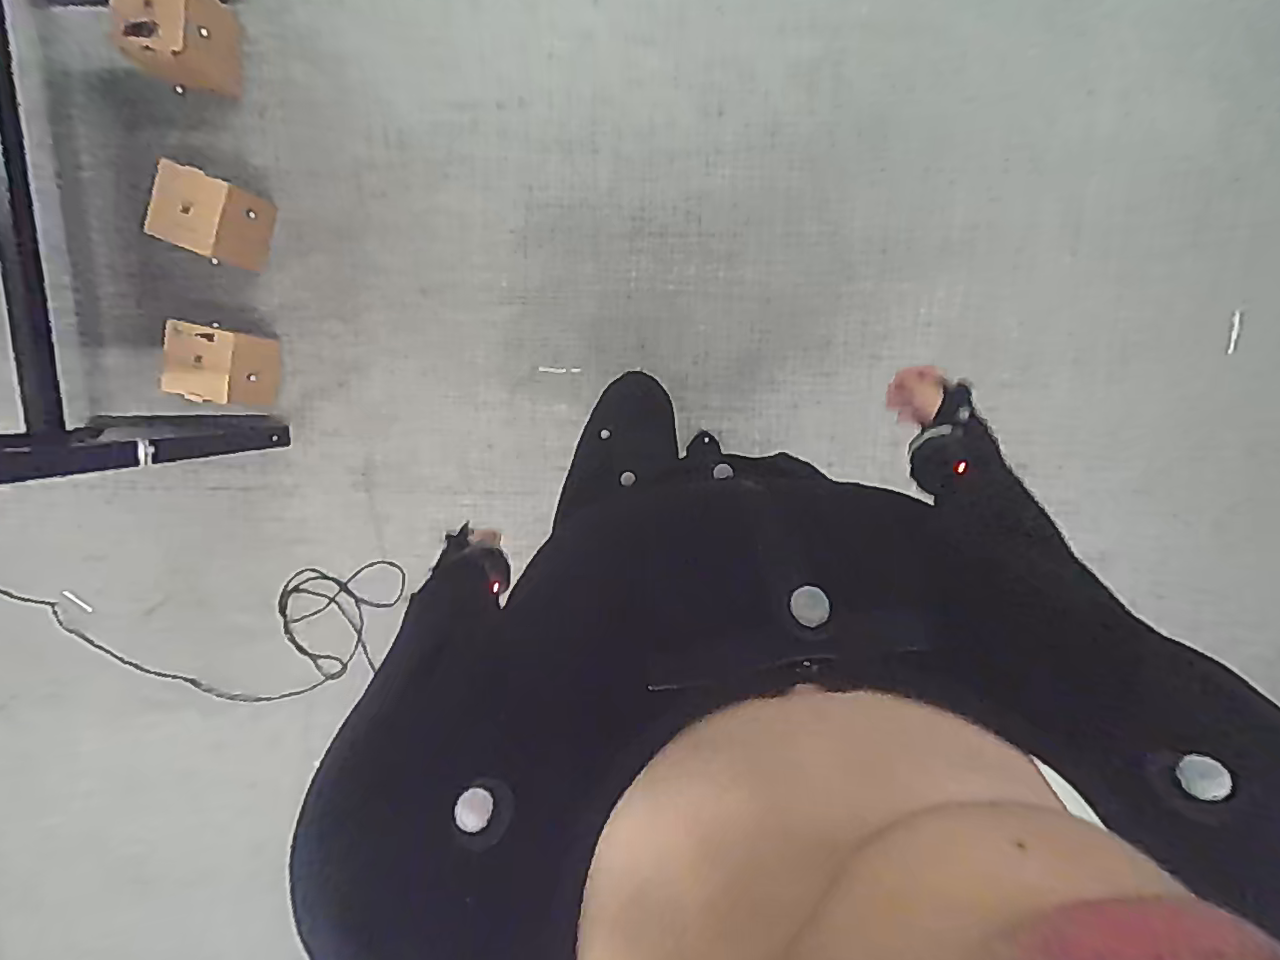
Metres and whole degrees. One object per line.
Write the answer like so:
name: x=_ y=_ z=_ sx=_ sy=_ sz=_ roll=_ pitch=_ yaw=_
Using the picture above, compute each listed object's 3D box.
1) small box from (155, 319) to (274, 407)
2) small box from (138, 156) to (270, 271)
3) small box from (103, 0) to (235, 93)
small box: x=-1.056 y=-0.288 z=1.354 sx=0.168 sy=0.176 sz=0.179 roll=12 pitch=99 yaw=-2
small box: x=-1.038 y=-0.631 z=1.302 sx=0.168 sy=0.176 sz=0.179 roll=21 pitch=99 yaw=-2
small box: x=-1.071 y=-1.032 z=1.241 sx=0.168 sy=0.176 sz=0.179 roll=6 pitch=97 yaw=-1
